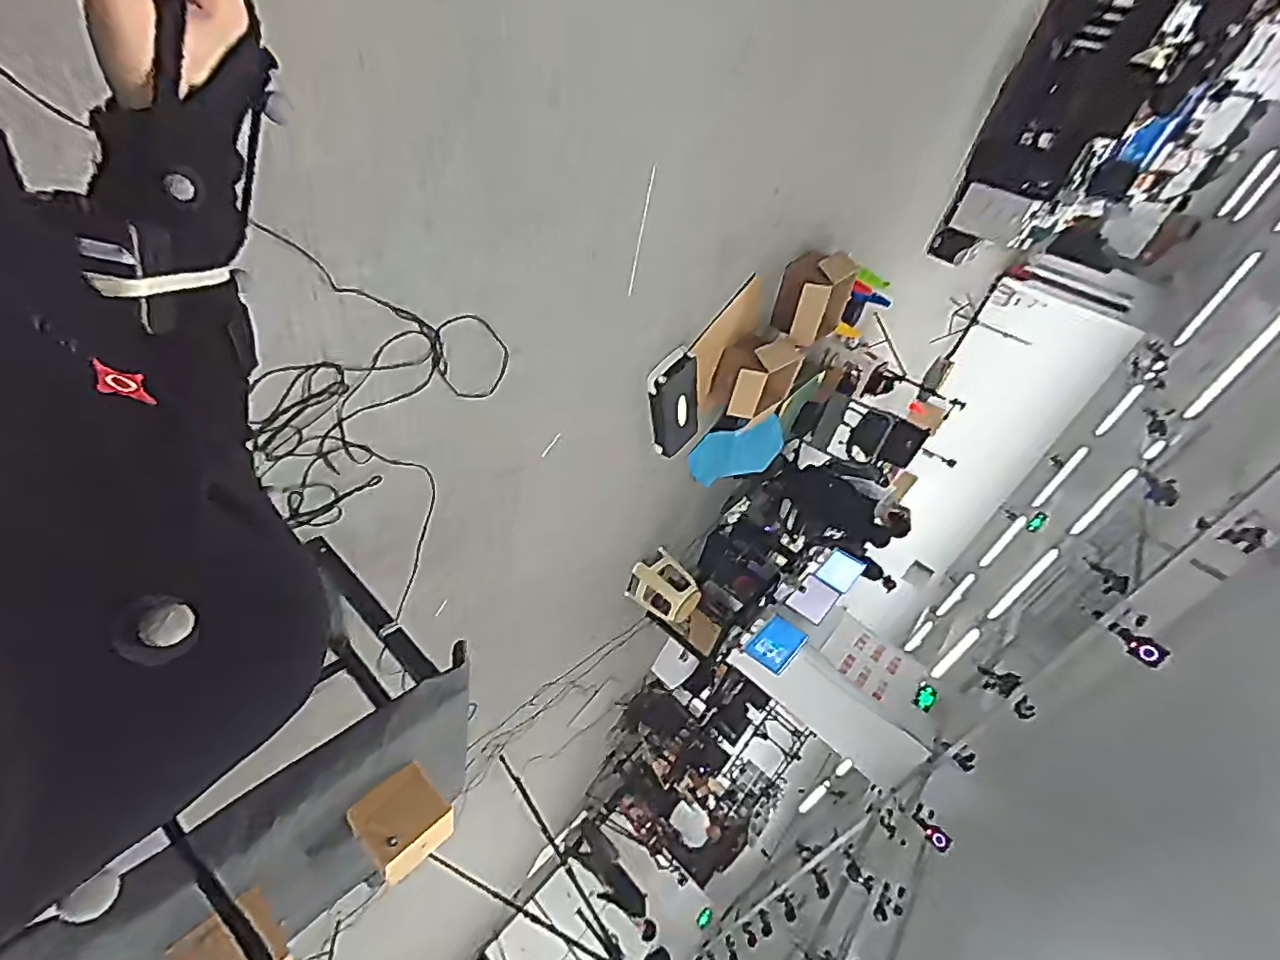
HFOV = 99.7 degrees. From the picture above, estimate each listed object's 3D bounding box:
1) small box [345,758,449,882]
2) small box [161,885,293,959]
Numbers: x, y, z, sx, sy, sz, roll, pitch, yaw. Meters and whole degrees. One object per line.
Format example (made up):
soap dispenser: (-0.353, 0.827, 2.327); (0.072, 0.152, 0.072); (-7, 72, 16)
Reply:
small box: (-0.597, 0.834, 1.340); (0.179, 0.176, 0.168); (-29, 147, -41)
small box: (-0.837, 0.982, 1.105); (0.168, 0.176, 0.179); (-25, 144, -45)
